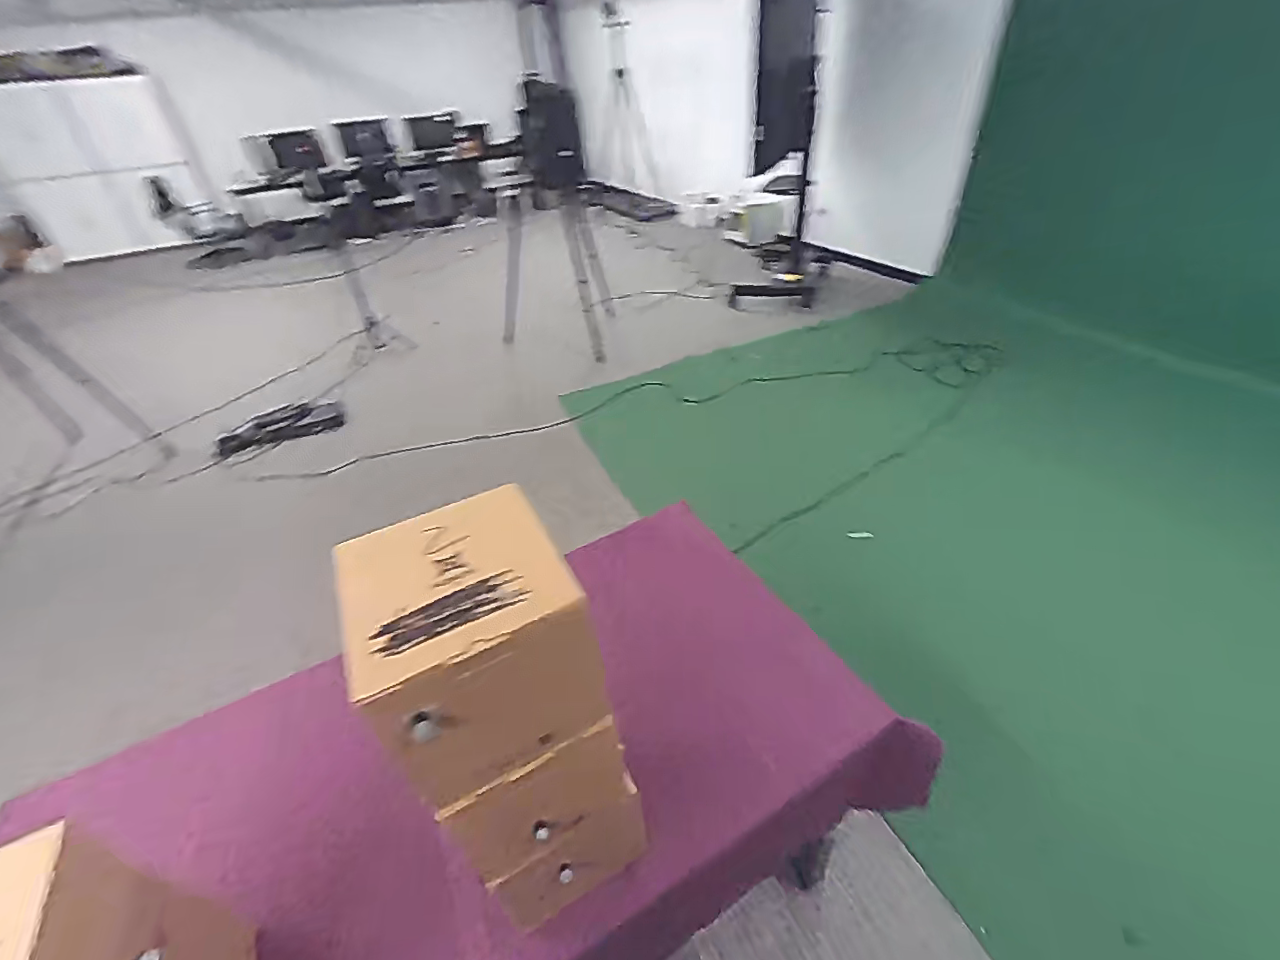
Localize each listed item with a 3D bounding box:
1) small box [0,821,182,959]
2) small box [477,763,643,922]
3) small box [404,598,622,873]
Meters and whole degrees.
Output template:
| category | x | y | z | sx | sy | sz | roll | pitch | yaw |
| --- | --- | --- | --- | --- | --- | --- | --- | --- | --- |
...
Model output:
| category | x | y | z | sx | sy | sz | roll | pitch | yaw |
| --- | --- | --- | --- | --- | --- | --- | --- | --- | --- |
| small box | -0.517 | 0.426 | 0.425 | 0.179 | 0.176 | 0.168 | -22 | 41 | -21 |
| small box | -0.112 | 0.399 | 0.677 | 0.179 | 0.176 | 0.168 | -24 | 41 | -21 |
| small box | -0.132 | 0.268 | 0.582 | 0.168 | 0.176 | 0.179 | -22 | 41 | -20 |
